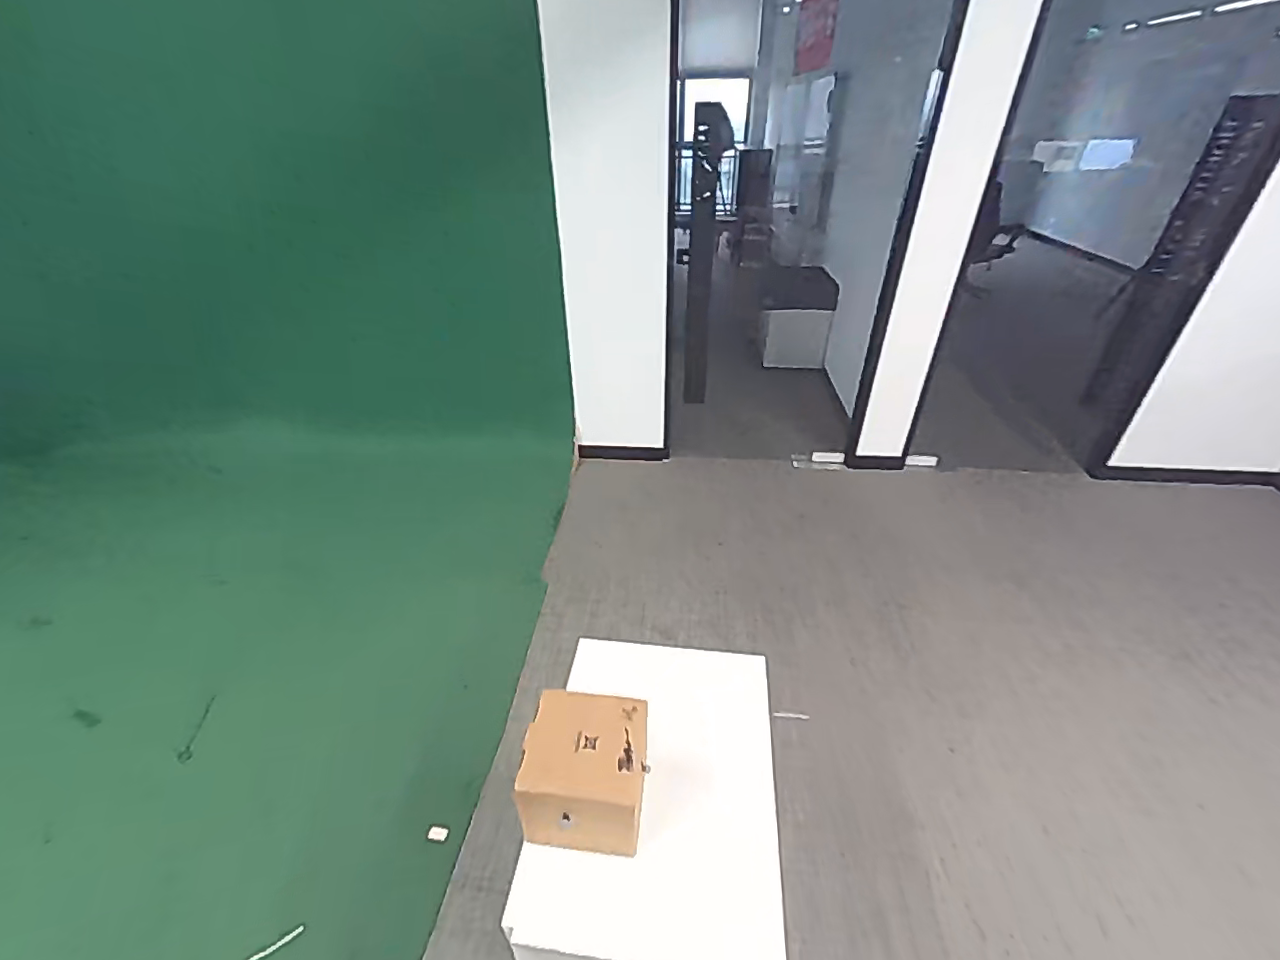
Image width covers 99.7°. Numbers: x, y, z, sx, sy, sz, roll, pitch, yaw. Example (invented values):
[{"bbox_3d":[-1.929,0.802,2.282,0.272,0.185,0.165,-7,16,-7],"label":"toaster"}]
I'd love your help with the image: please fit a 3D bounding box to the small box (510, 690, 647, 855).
[{"bbox_3d":[-0.085,0.458,0.851,0.179,0.176,0.168,4,35,6],"label":"small box"}]
